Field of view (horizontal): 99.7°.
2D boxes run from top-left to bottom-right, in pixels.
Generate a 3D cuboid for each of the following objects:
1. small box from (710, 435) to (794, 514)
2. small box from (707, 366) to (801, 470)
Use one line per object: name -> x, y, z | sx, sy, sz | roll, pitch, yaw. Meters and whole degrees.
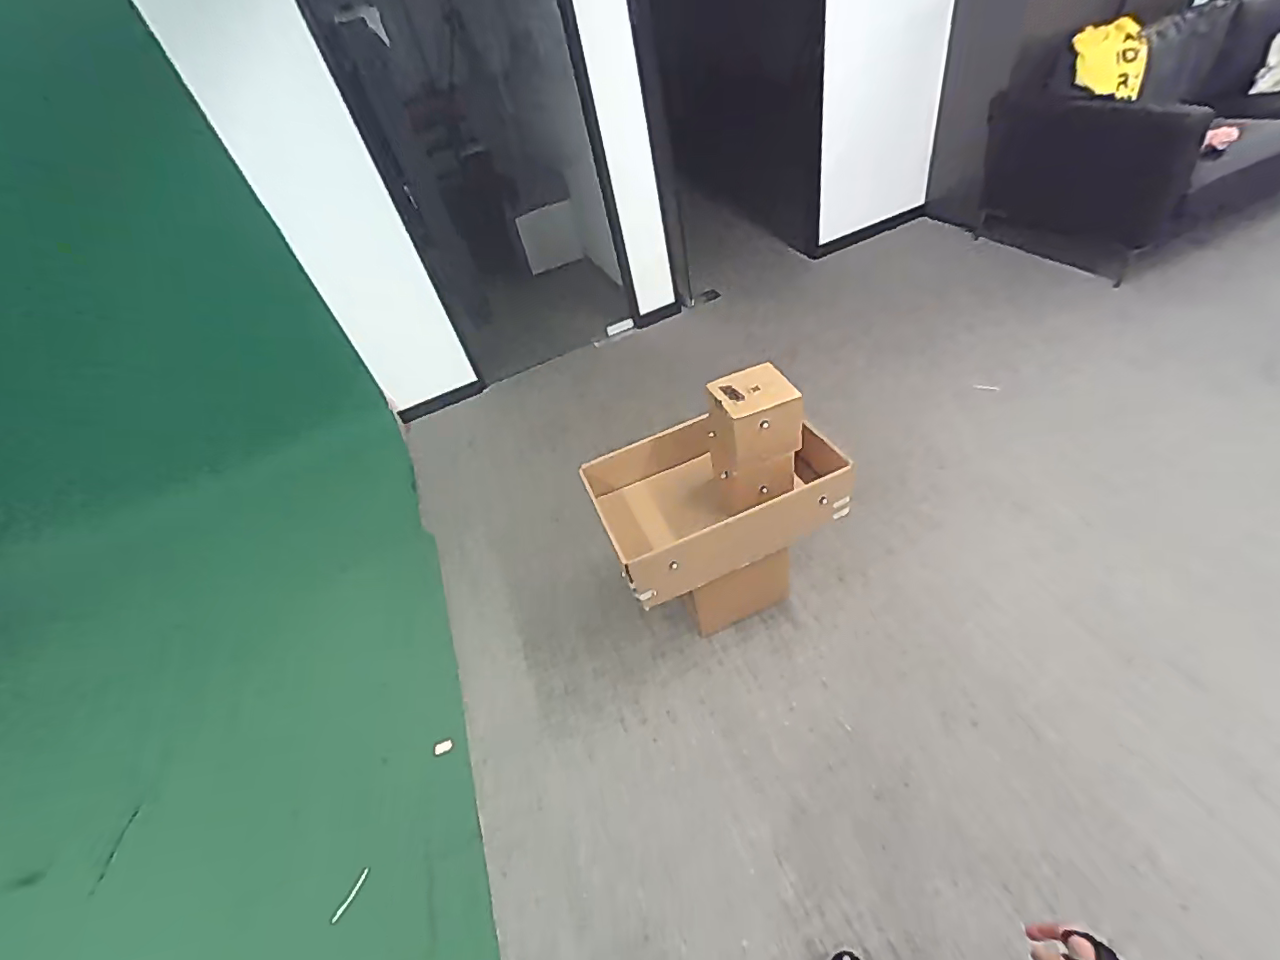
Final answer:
small box -> 0.301, -0.029, 1.445 | 0.168, 0.176, 0.179 | -19, 43, -4
small box -> 0.283, -0.150, 1.334 | 0.179, 0.176, 0.168 | -20, 43, -6
